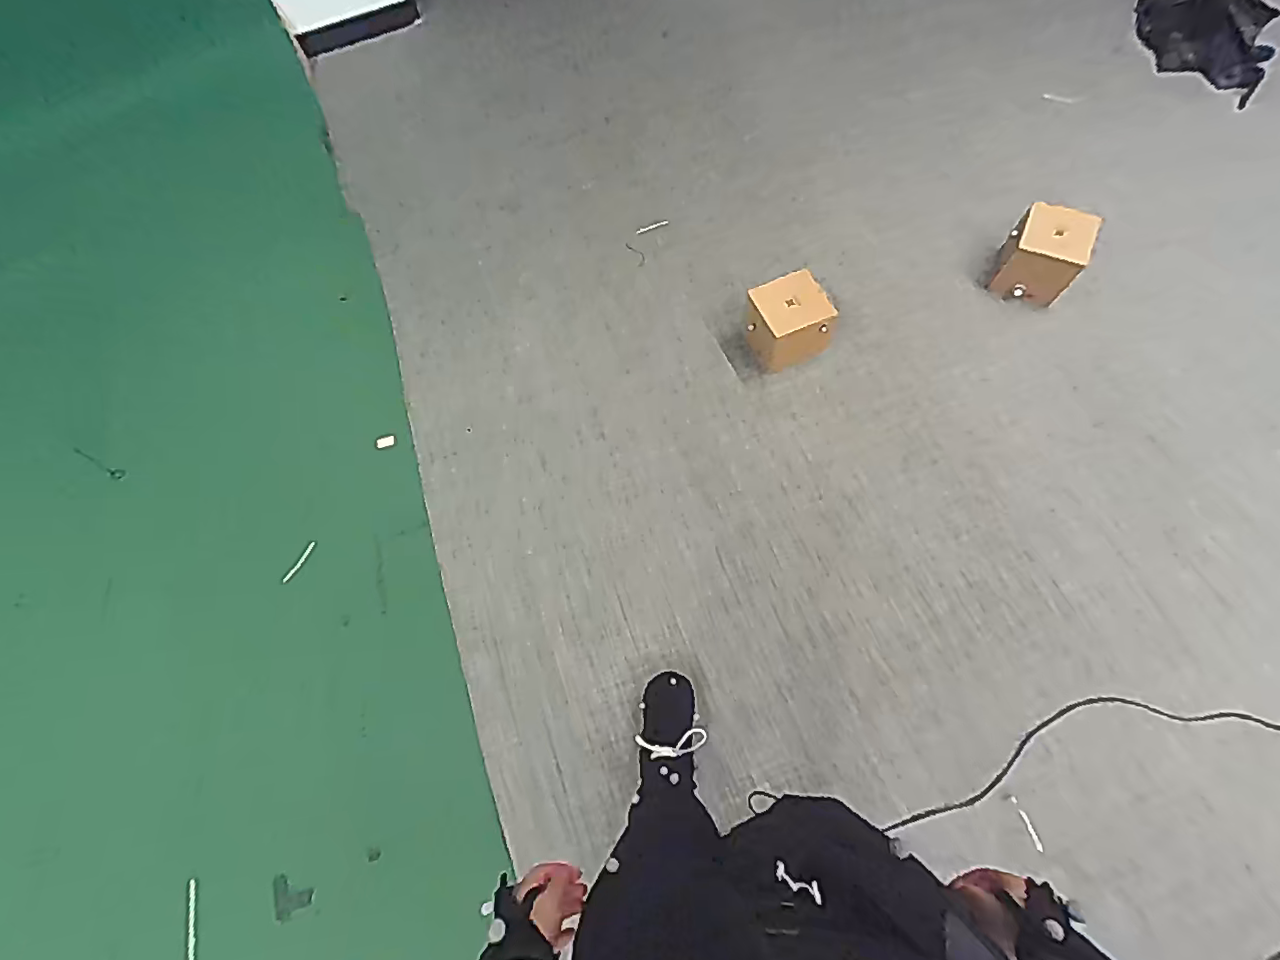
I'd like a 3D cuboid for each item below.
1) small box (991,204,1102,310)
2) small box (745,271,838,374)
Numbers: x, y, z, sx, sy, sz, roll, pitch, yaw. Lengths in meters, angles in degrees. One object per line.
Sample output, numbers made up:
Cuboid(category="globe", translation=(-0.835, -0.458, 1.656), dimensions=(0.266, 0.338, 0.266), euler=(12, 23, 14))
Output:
Cuboid(category="small box", translation=(1.083, -0.595, 1.454), dimensions=(0.168, 0.176, 0.179), euler=(23, 73, 14))
Cuboid(category="small box", translation=(0.391, -0.411, 1.435), dimensions=(0.179, 0.176, 0.168), euler=(-23, 68, -5))
